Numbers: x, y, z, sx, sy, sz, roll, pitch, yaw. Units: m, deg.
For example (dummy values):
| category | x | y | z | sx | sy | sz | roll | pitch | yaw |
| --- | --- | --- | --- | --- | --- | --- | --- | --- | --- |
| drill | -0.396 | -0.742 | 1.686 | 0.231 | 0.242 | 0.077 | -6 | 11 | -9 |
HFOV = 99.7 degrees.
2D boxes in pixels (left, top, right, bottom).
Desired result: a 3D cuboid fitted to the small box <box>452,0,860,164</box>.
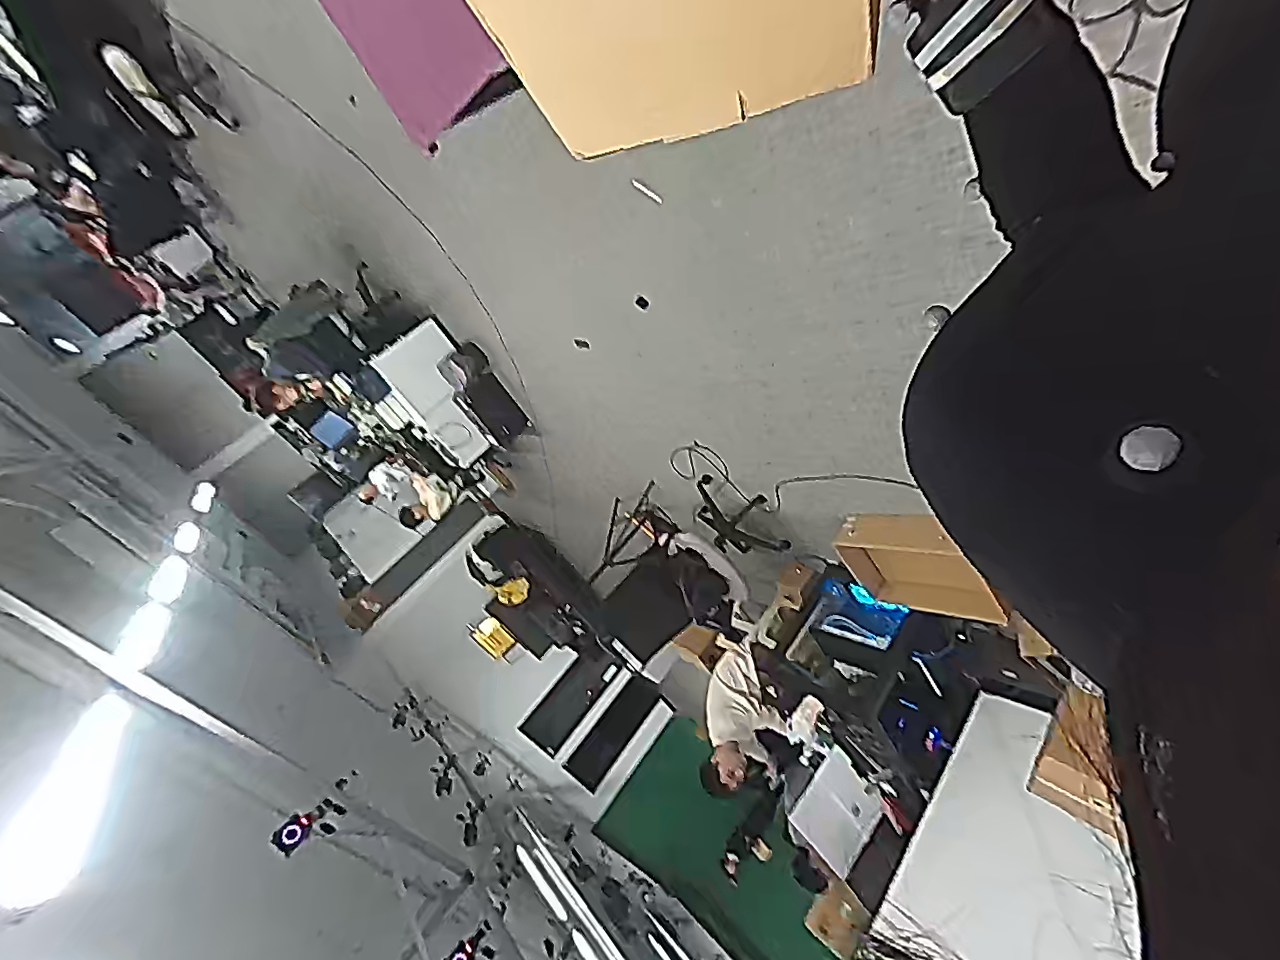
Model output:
| category | x | y | z | sx | sy | sz | roll | pitch | yaw |
| --- | --- | --- | --- | --- | --- | --- | --- | --- | --- |
| small box | -0.001 | -0.285 | 0.226 | 0.168 | 0.179 | 0.176 | 2 | 166 | 28 |
